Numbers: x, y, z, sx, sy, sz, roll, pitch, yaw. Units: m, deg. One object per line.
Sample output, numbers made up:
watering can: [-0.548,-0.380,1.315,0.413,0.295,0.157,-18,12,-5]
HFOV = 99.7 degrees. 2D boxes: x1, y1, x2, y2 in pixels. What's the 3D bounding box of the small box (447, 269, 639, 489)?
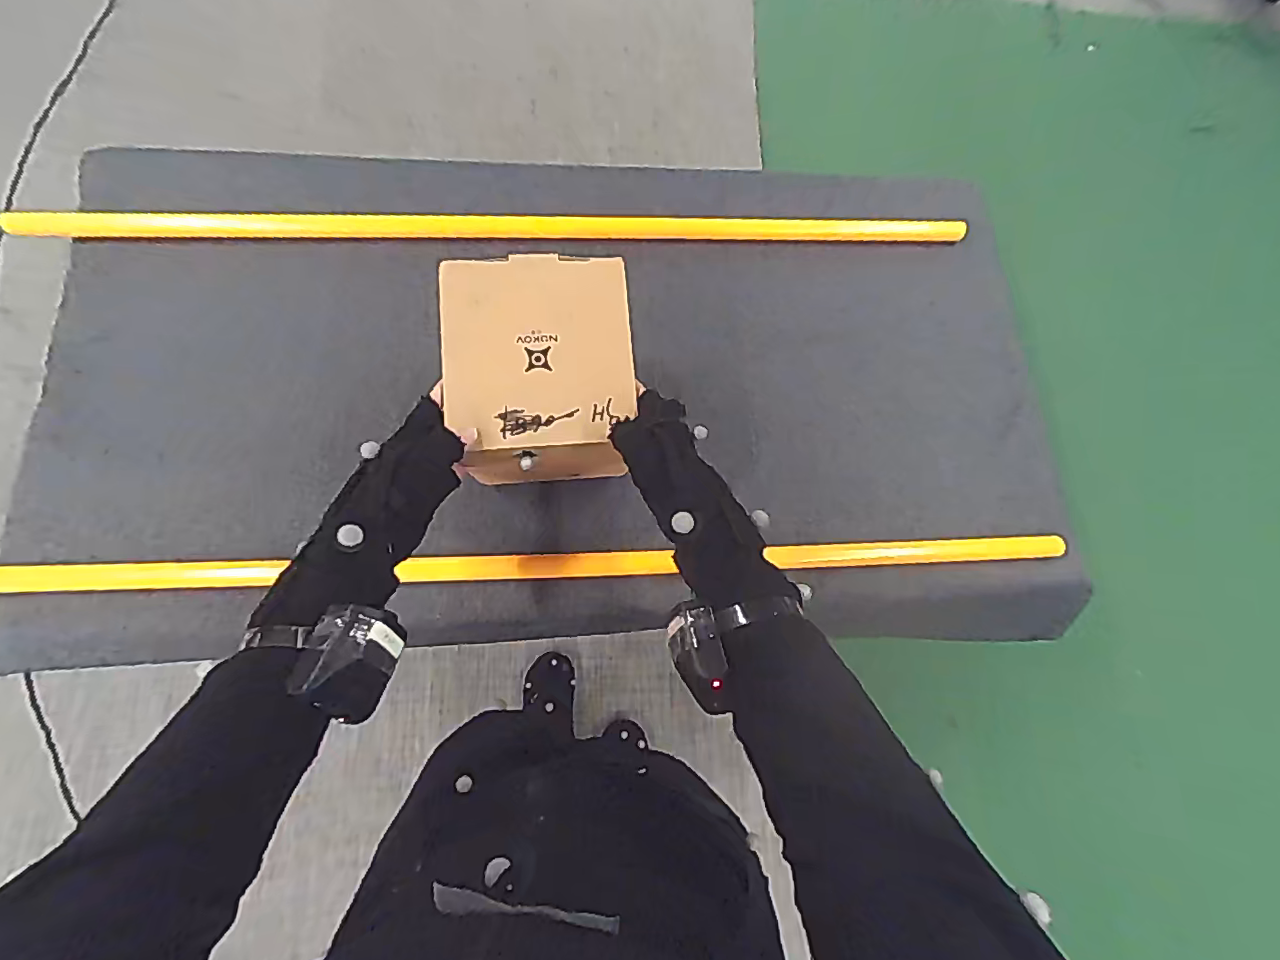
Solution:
small box: [-0.096,-0.094,0.561,0.168,0.176,0.179,-4,81,-6]
